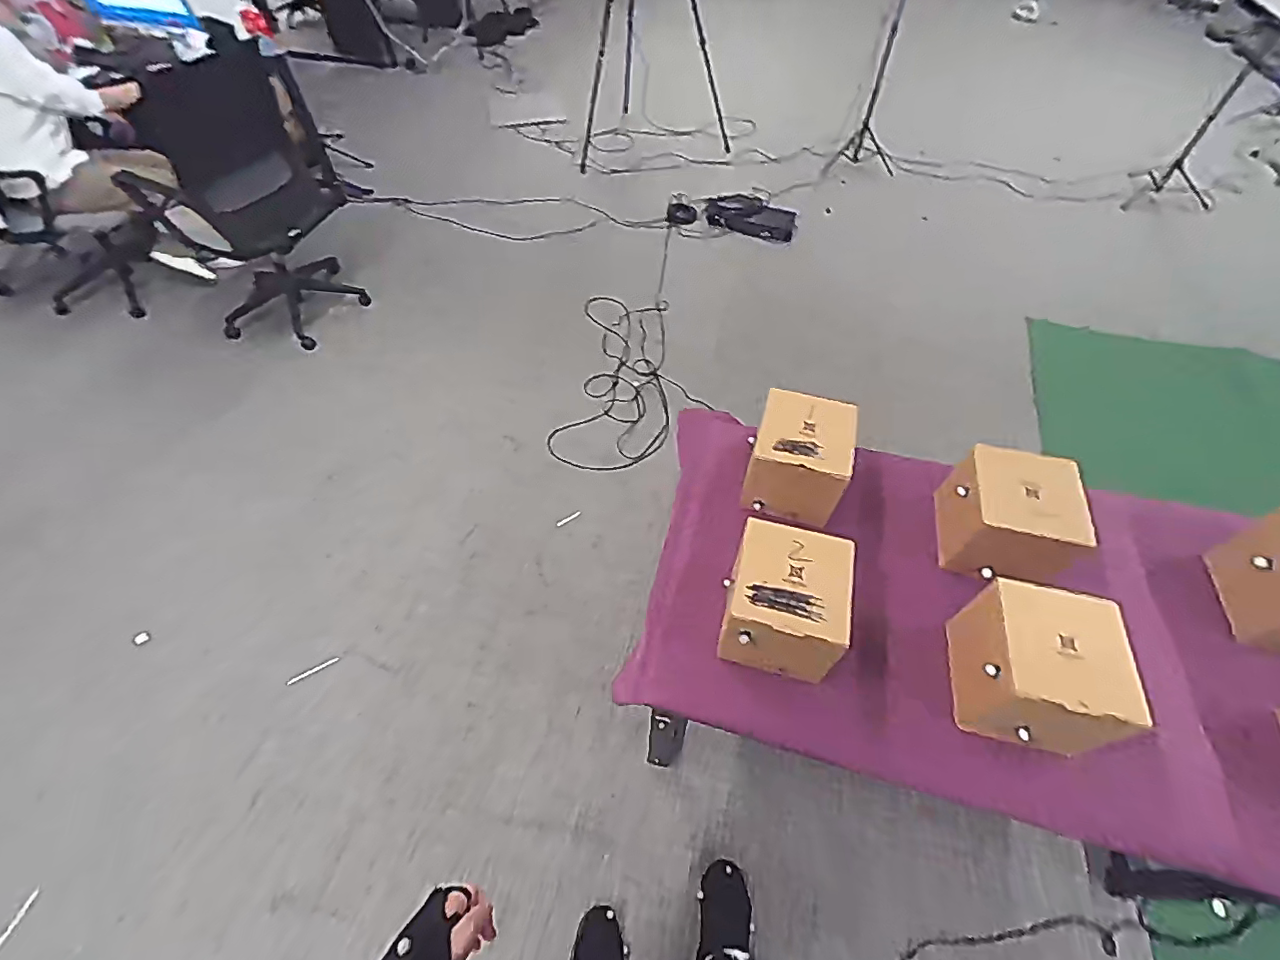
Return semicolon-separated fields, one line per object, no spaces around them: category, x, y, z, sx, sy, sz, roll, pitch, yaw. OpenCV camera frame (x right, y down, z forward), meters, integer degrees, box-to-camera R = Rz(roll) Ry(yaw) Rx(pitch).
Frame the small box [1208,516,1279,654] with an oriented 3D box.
small box;1.095;0.176;0.873;0.168;0.176;0.179;11;53;9

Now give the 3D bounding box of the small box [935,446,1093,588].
small box;0.642;0.071;0.956;0.168;0.176;0.179;12;55;10

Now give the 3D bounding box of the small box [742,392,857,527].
small box;0.298;-0.035;1.031;0.168;0.176;0.179;14;55;10

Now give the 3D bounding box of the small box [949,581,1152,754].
small box;0.581;0.279;0.798;0.168;0.176;0.179;12;54;8
